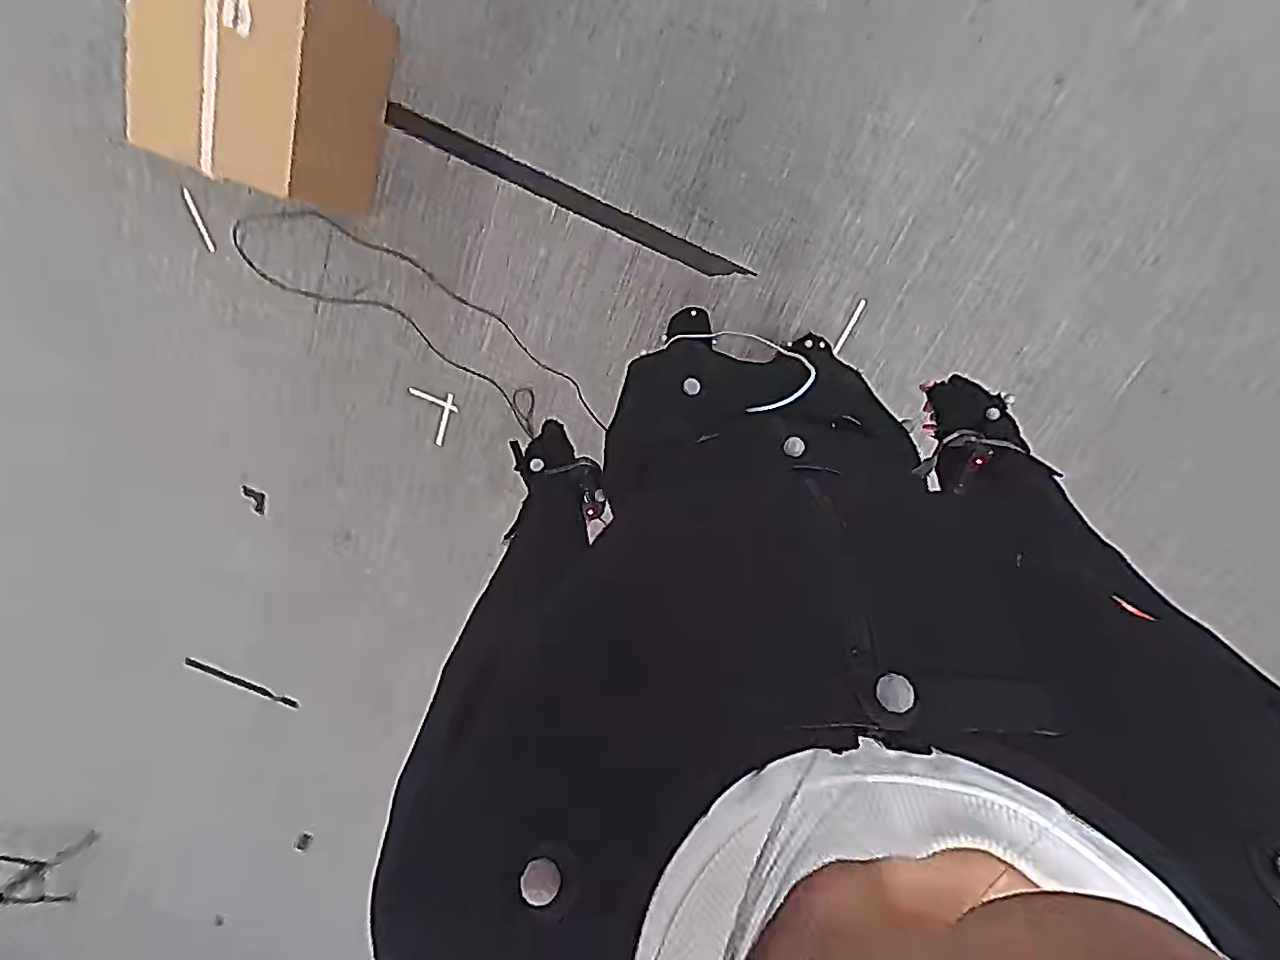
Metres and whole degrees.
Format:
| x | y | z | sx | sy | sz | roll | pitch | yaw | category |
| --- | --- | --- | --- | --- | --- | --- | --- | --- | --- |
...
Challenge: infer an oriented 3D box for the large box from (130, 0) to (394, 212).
| x | y | z | sx | sy | sz | roll | pitch | yaw | category |
| --- | --- | --- | --- | --- | --- | --- | --- | --- | --- |
| -0.747 | -0.821 | 1.101 | 0.320 | 0.320 | 0.408 | 19 | 109 | -4 | large box |
